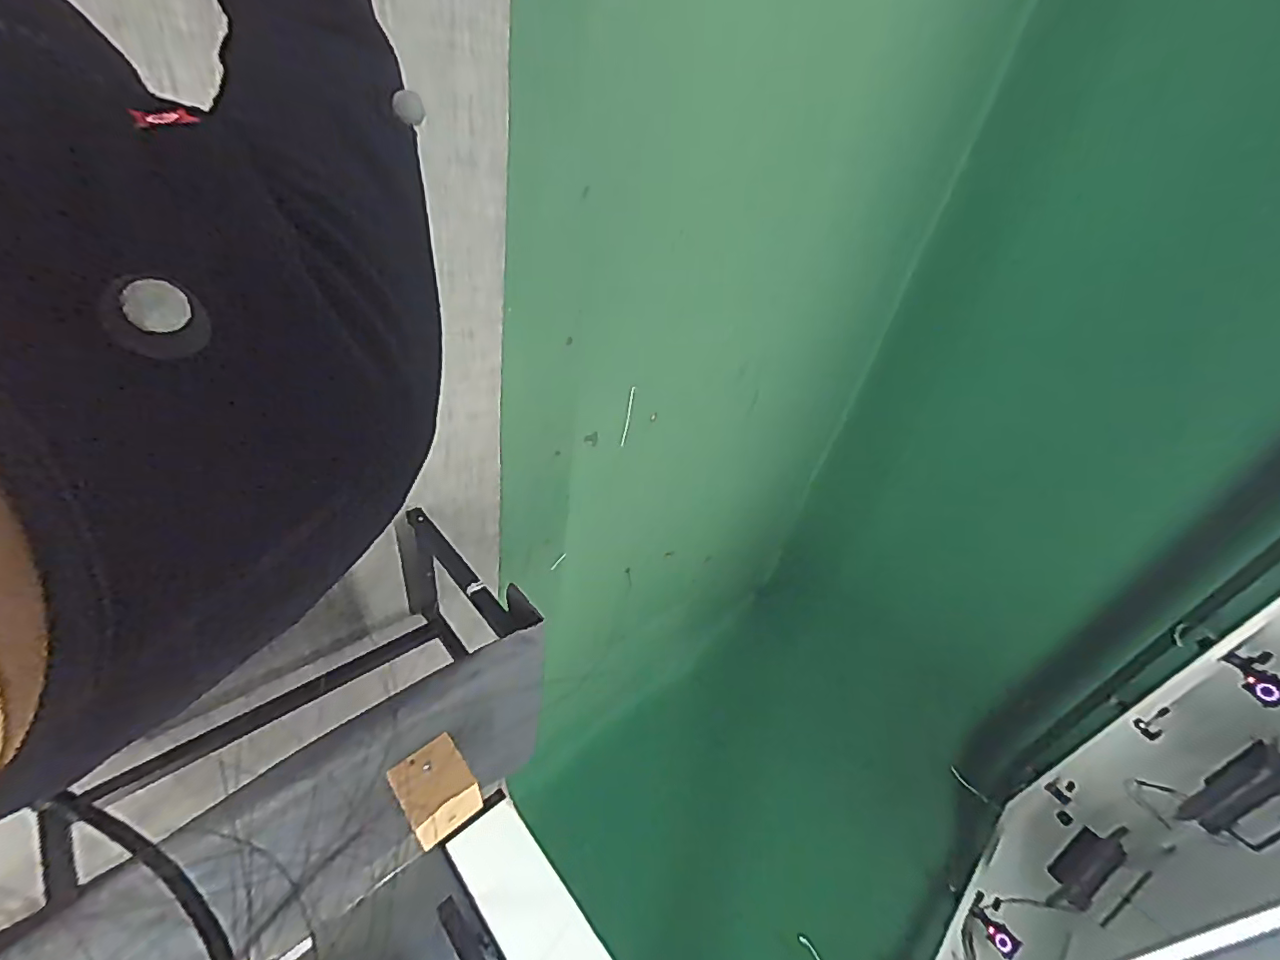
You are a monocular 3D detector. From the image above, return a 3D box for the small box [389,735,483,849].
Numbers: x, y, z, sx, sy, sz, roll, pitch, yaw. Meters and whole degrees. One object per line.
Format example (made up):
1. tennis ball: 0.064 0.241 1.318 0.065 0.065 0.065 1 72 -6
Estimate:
1. small box: -0.533 0.812 1.419 0.168 0.176 0.179 -28 141 -35
